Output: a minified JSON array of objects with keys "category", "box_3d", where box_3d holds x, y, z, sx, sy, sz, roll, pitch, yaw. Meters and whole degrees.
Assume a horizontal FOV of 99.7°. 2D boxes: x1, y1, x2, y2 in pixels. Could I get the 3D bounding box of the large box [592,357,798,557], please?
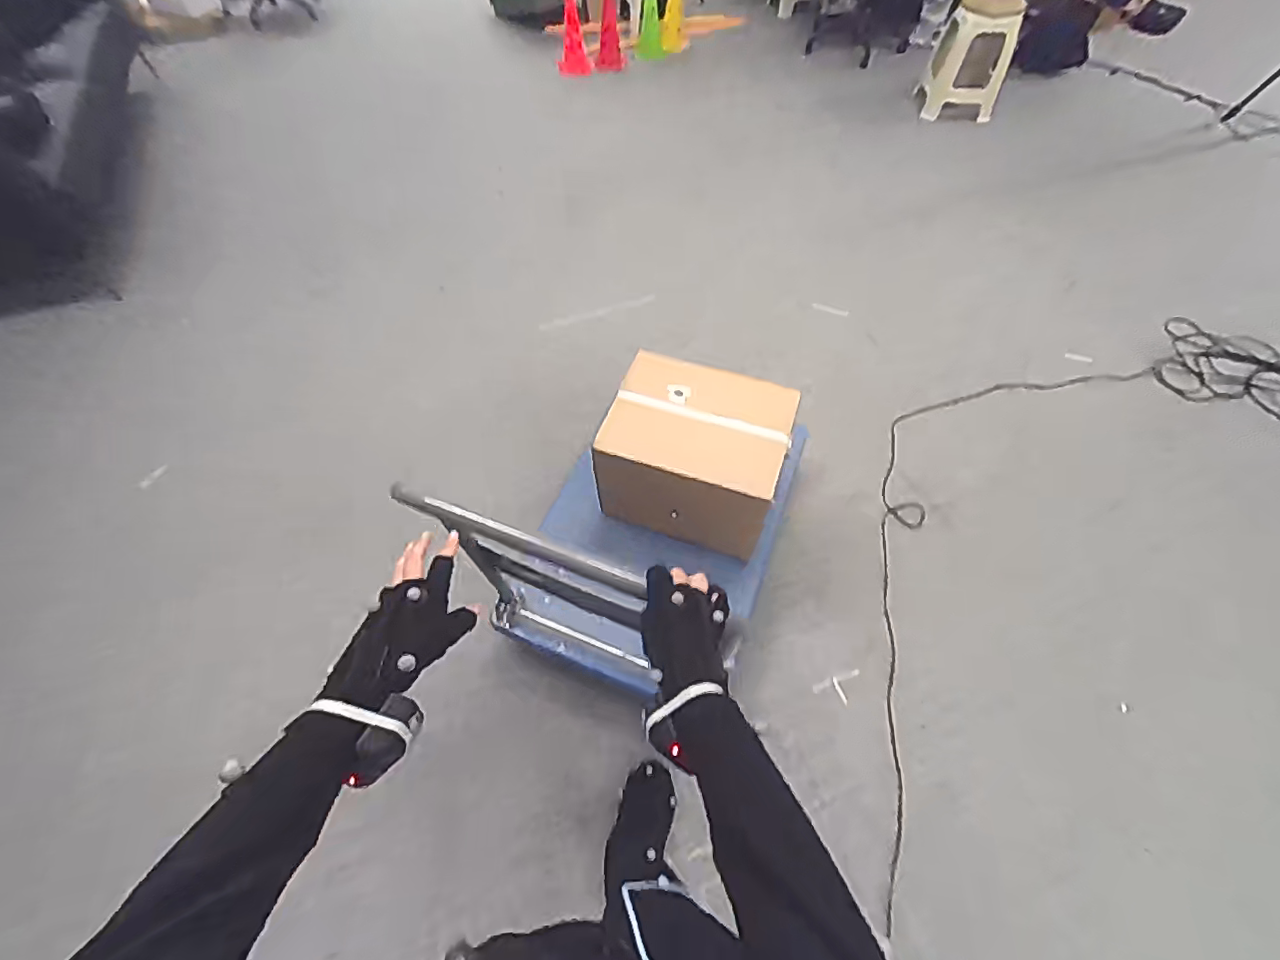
[{"category":"large box","box_3d":[0.138,-0.053,1.344,0.408,0.320,0.320,17,59,13]}]
